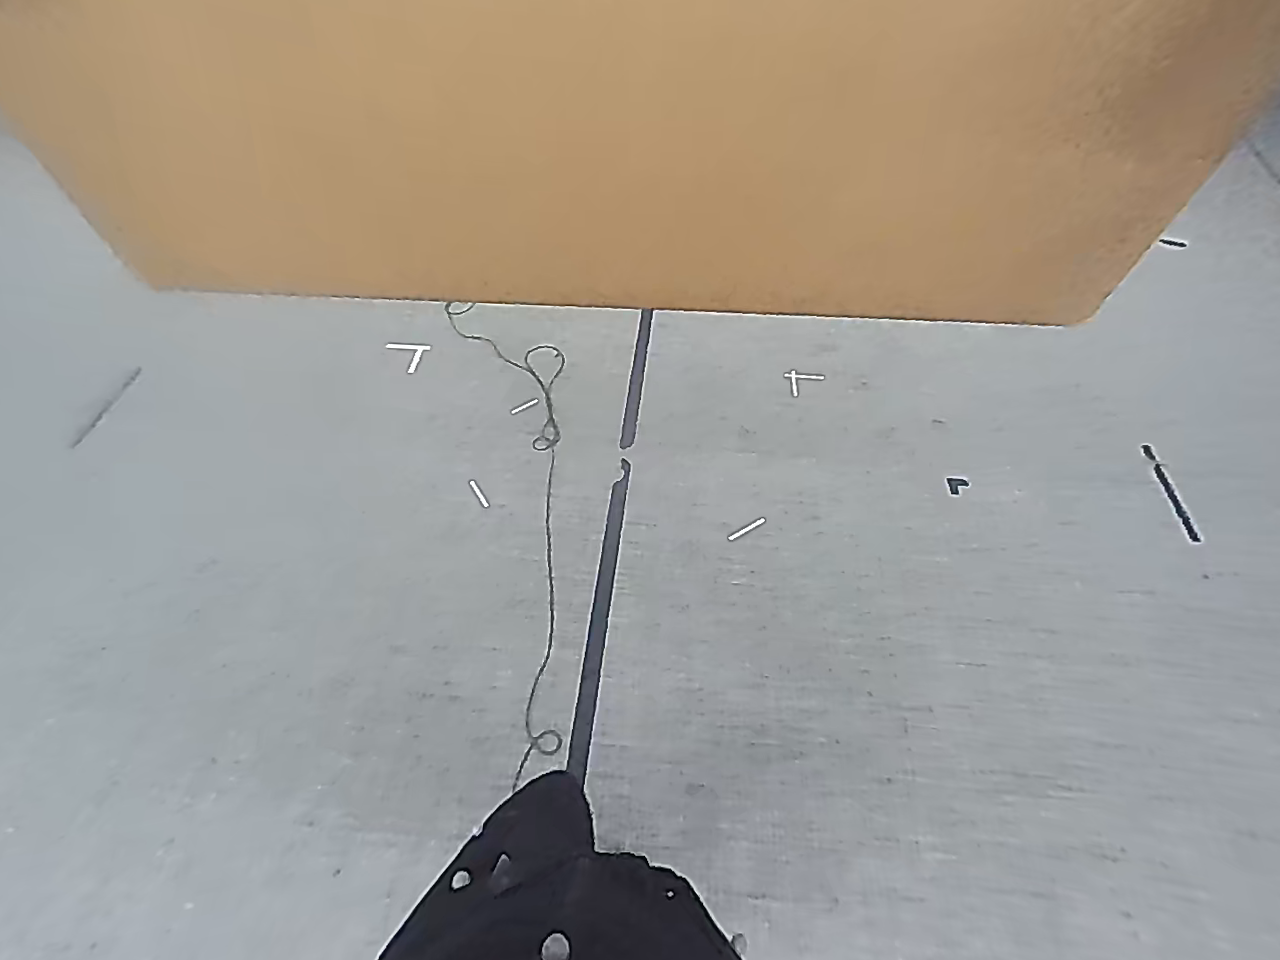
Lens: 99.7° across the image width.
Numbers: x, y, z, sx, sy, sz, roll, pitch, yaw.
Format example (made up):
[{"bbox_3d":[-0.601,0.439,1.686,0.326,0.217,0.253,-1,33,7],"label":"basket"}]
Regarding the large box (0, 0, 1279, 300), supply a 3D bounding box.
[{"bbox_3d":[0.001,-0.293,0.207,0.408,0.320,0.320,3,54,-1],"label":"large box"}]
